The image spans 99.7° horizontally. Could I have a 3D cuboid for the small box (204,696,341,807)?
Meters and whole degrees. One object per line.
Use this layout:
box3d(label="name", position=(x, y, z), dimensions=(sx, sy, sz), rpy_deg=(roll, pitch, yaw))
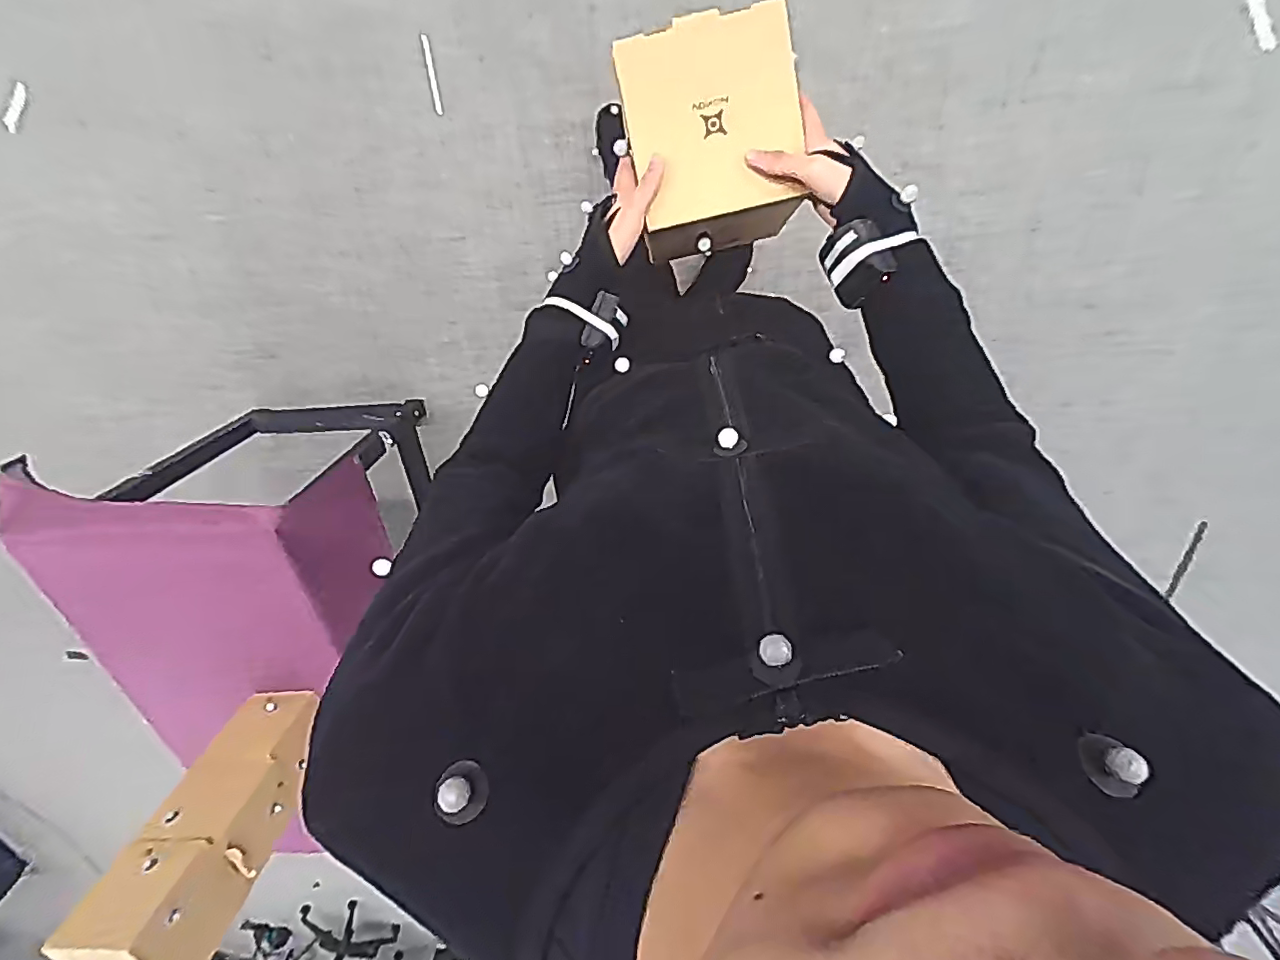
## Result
box3d(label="small box", position=(-0.836, 0.627, 1.255), dimensions=(0.168, 0.176, 0.179), rpy_deg=(-6, 118, 7))

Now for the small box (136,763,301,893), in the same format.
box3d(label="small box", position=(-0.850, 0.709, 1.112), dimensions=(0.179, 0.176, 0.168), rpy_deg=(-1, 120, 4))

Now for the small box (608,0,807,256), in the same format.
box3d(label="small box", position=(0.071, -0.359, 0.590), dimensions=(0.168, 0.176, 0.179), rpy_deg=(-11, 99, 5))
